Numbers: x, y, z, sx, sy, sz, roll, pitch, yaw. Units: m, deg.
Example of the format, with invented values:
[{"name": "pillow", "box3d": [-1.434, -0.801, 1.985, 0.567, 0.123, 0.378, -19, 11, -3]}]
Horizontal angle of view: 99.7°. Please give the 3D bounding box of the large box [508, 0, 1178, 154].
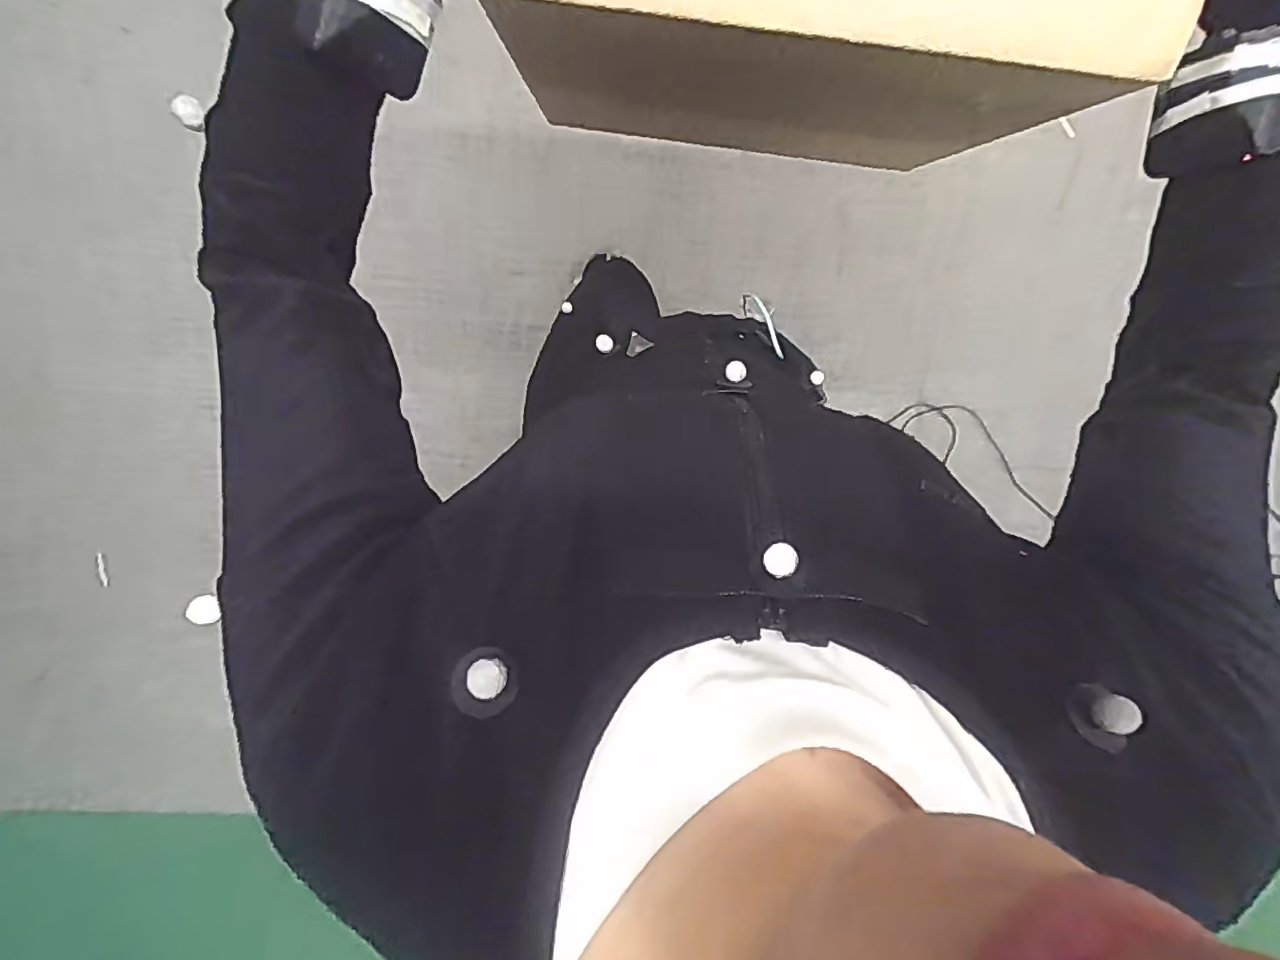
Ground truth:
[{"name": "large box", "box3d": [0.119, -0.461, 0.395, 0.408, 0.320, 0.320, 4, 112, -4]}]
